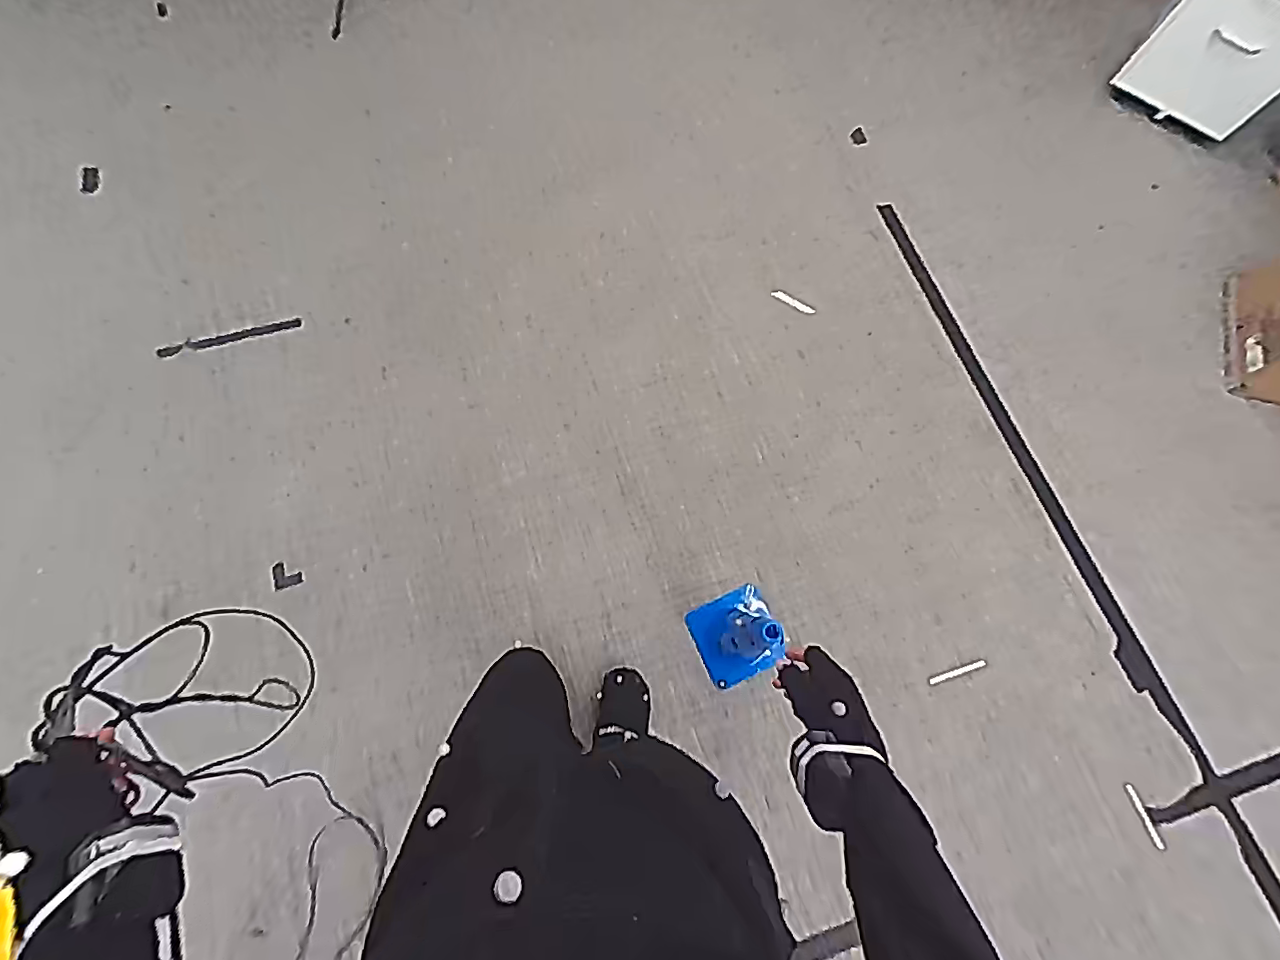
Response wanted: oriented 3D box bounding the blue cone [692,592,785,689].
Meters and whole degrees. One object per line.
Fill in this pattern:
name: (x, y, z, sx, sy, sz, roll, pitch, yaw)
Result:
blue cone: (0.240, 0.338, 1.160, 0.193, 0.380, 0.192, -22, 75, -7)
